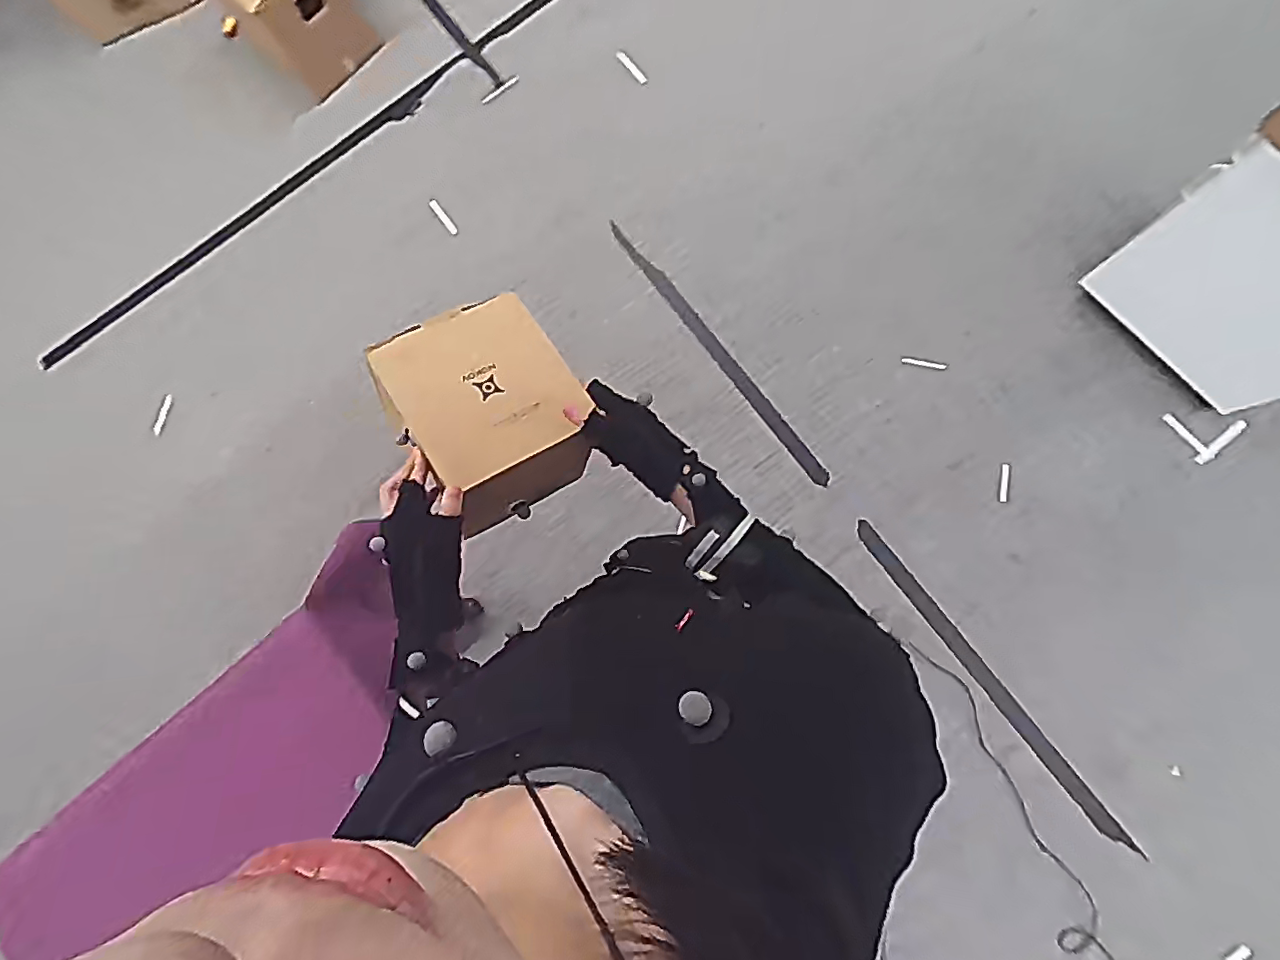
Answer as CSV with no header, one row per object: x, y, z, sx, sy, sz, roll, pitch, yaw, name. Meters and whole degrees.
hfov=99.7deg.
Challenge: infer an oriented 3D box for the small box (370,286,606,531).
-0.162,-0.069,0.591,0.168,0.176,0.179,-30,80,-22,small box
